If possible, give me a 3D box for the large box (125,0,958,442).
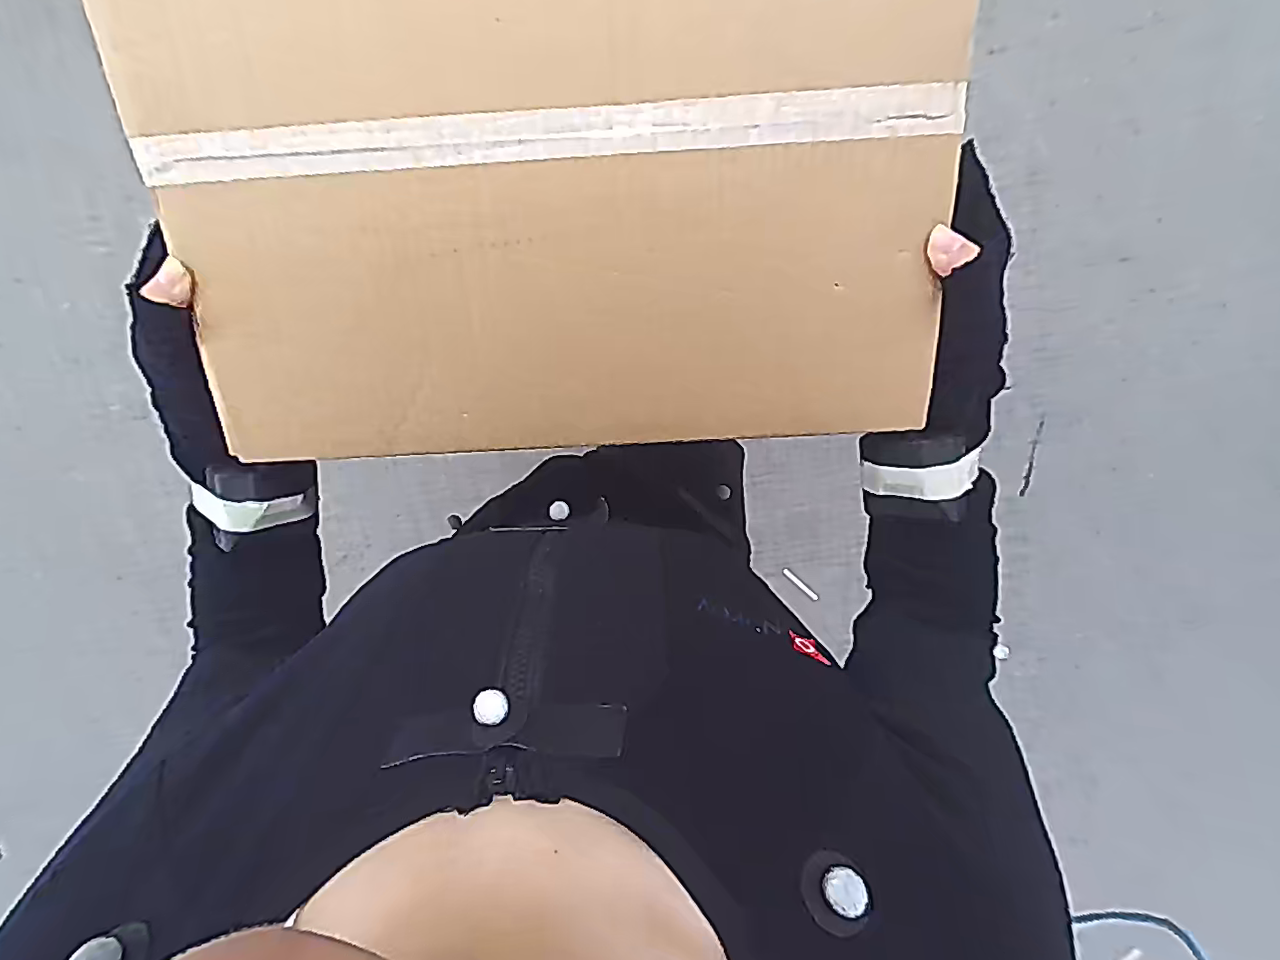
[{"bbox_3d":[-0.046,-0.227,0.415,0.408,0.320,0.320,-3,110,1],"label":"large box"}]
